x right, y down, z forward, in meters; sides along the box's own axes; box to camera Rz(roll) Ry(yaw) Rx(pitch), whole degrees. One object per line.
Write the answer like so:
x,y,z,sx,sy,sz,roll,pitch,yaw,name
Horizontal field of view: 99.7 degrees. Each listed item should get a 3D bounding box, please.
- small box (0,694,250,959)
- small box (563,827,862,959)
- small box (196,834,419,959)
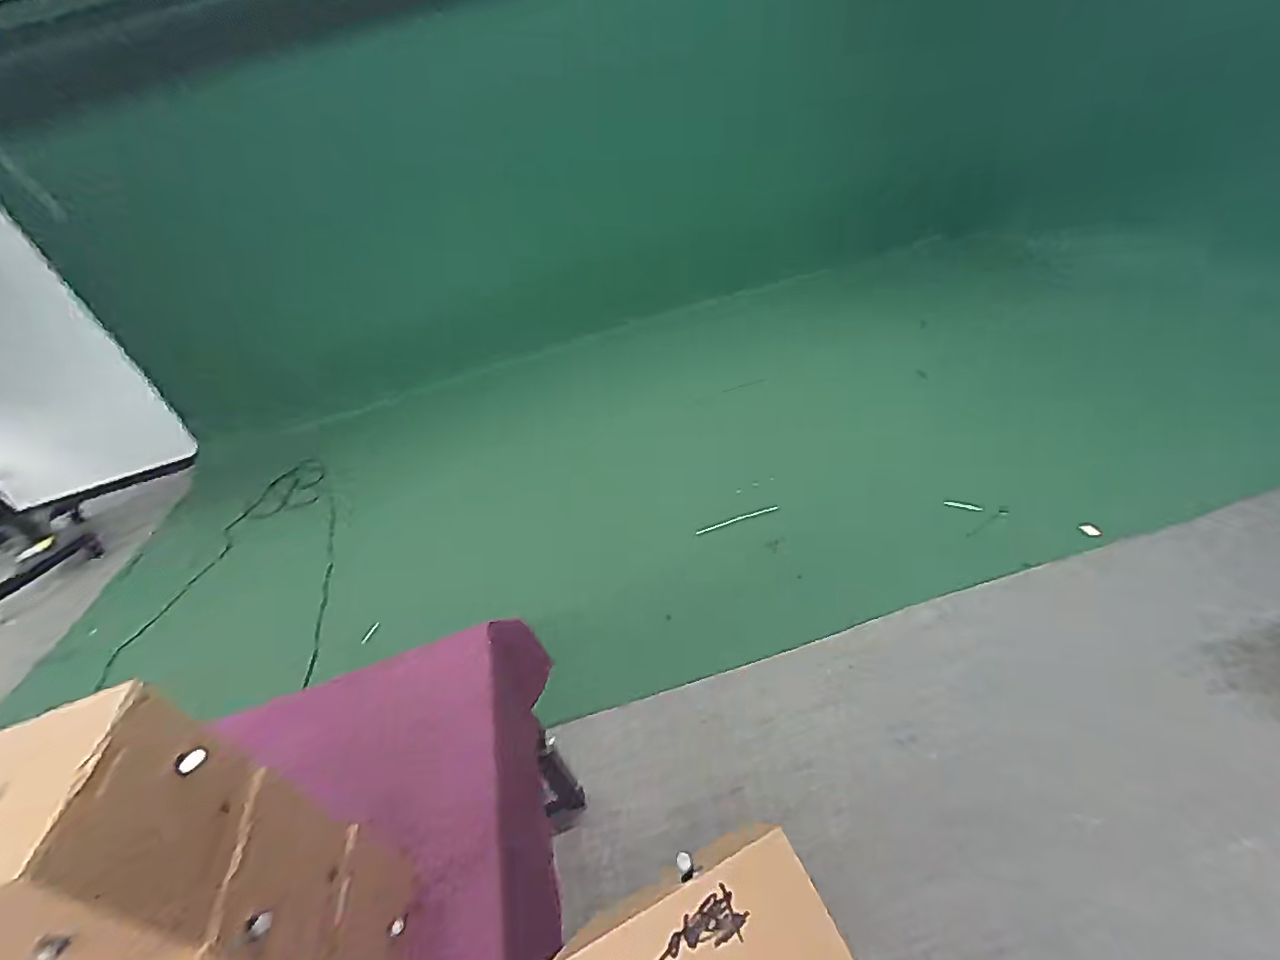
-0.485,0.324,0.459,0.179,0.176,0.168,-22,35,-4,small box
0.065,0.354,0.348,0.168,0.176,0.179,-24,60,-10,small box
-0.397,0.574,0.652,0.179,0.176,0.168,-19,36,-2,small box
